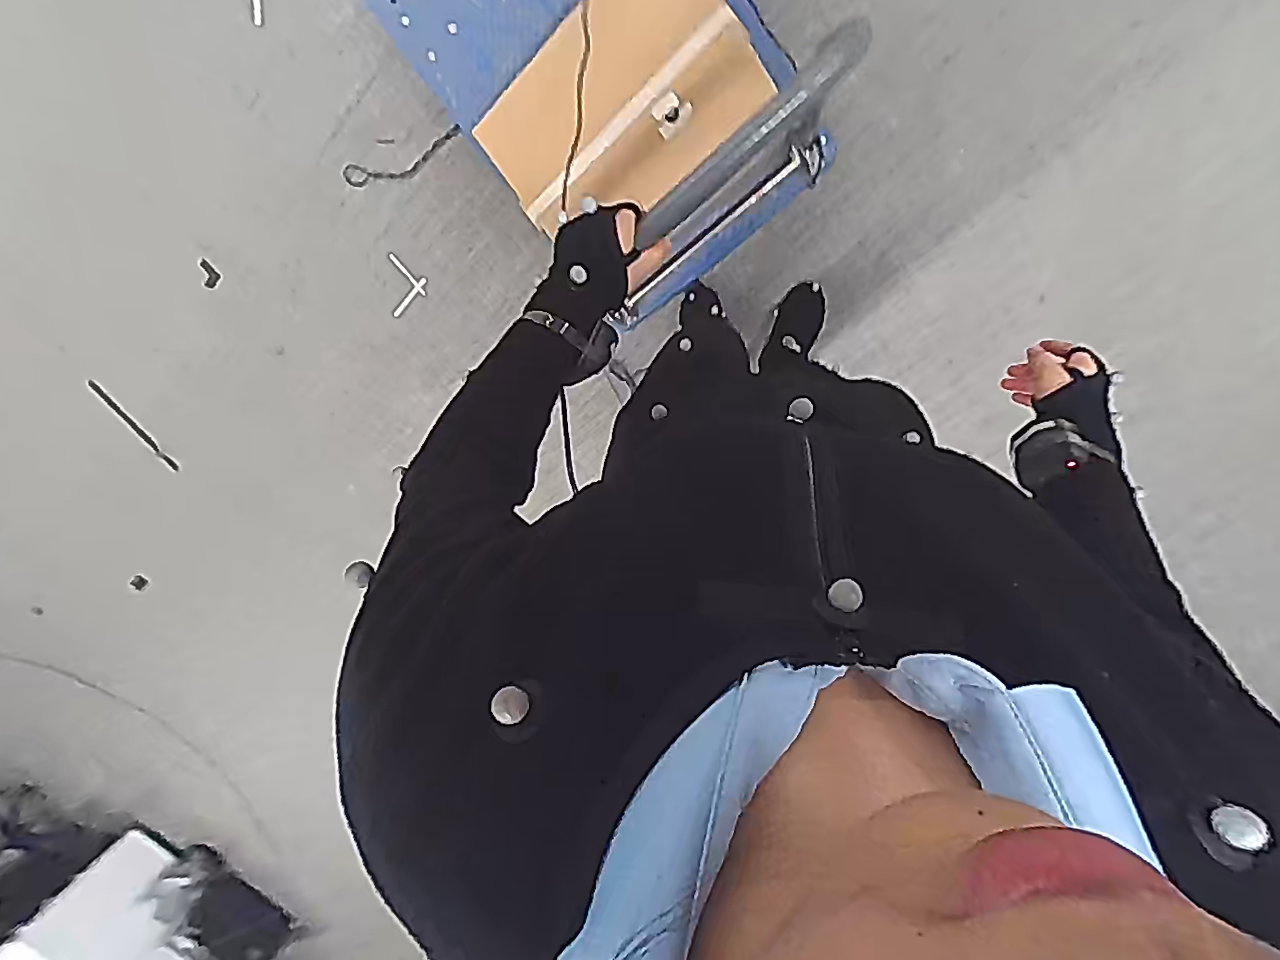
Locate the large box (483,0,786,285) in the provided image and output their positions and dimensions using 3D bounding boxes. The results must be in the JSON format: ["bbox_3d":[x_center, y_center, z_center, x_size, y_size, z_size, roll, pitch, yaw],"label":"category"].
[{"bbox_3d":[0.006,-0.613,0.983,0.408,0.320,0.320,-34,102,22],"label":"large box"}]
